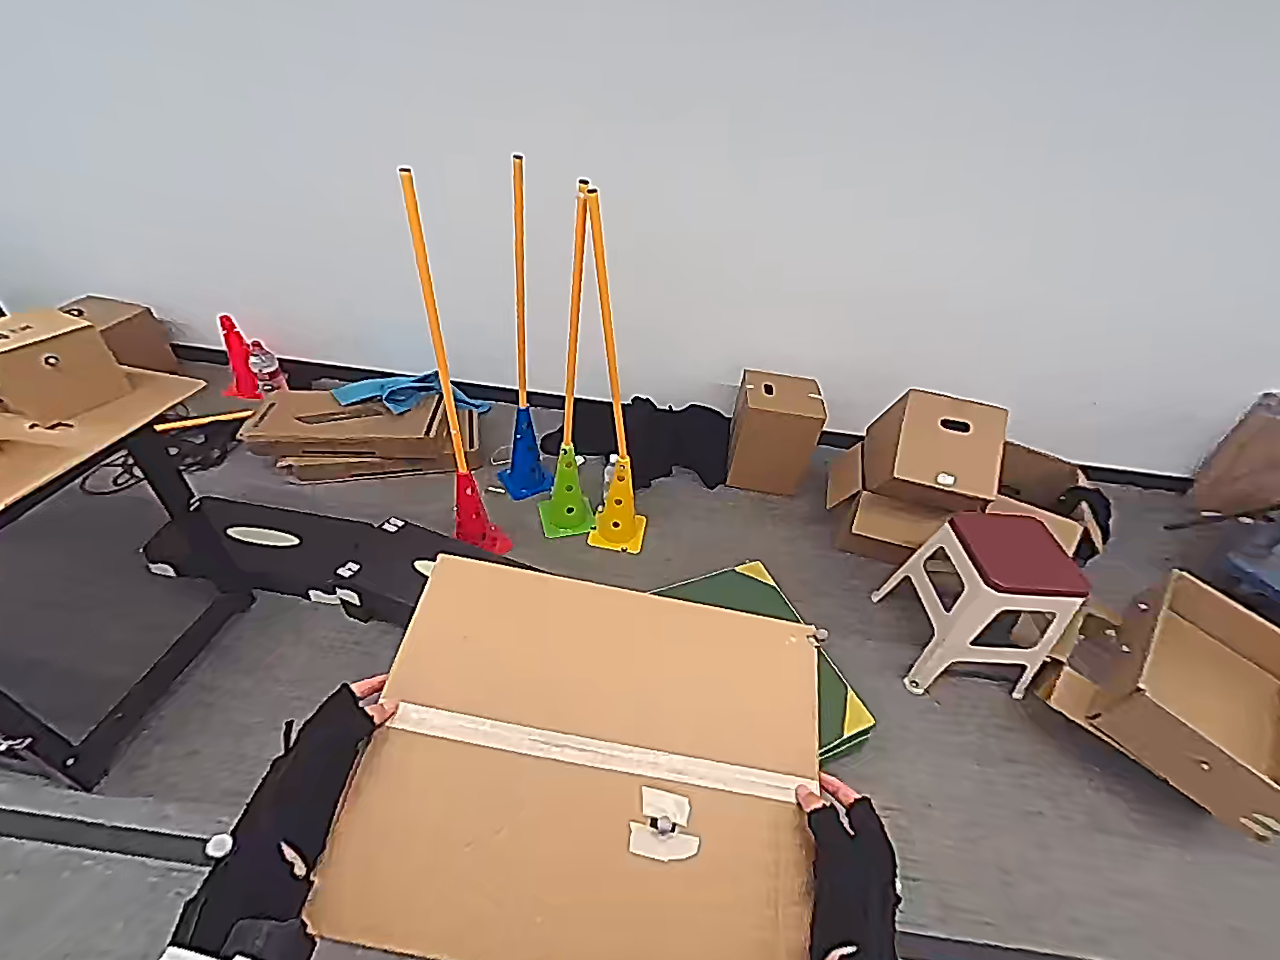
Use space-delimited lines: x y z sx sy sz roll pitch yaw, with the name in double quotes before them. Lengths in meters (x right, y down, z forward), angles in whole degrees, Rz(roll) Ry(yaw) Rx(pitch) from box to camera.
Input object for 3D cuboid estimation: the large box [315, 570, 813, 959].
"large box" -0.055 0.336 0.625 0.408 0.320 0.320 11 57 0
